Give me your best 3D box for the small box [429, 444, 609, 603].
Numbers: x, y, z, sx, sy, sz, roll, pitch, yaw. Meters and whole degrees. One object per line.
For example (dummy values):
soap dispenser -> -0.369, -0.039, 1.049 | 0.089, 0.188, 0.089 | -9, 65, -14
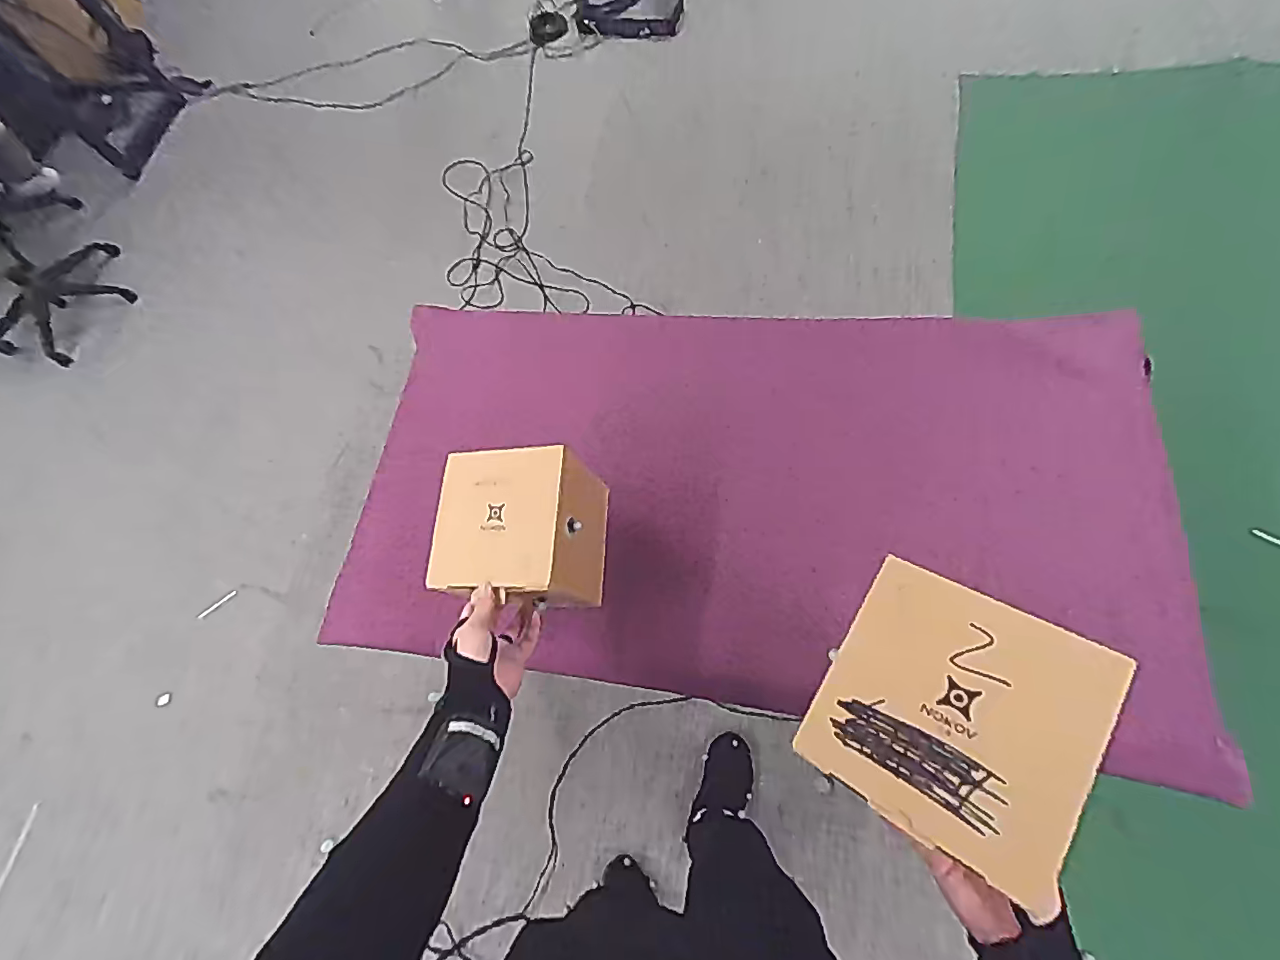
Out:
small box -> -0.148, 0.067, 0.725 | 0.168, 0.176, 0.179 | -2, 69, 17
